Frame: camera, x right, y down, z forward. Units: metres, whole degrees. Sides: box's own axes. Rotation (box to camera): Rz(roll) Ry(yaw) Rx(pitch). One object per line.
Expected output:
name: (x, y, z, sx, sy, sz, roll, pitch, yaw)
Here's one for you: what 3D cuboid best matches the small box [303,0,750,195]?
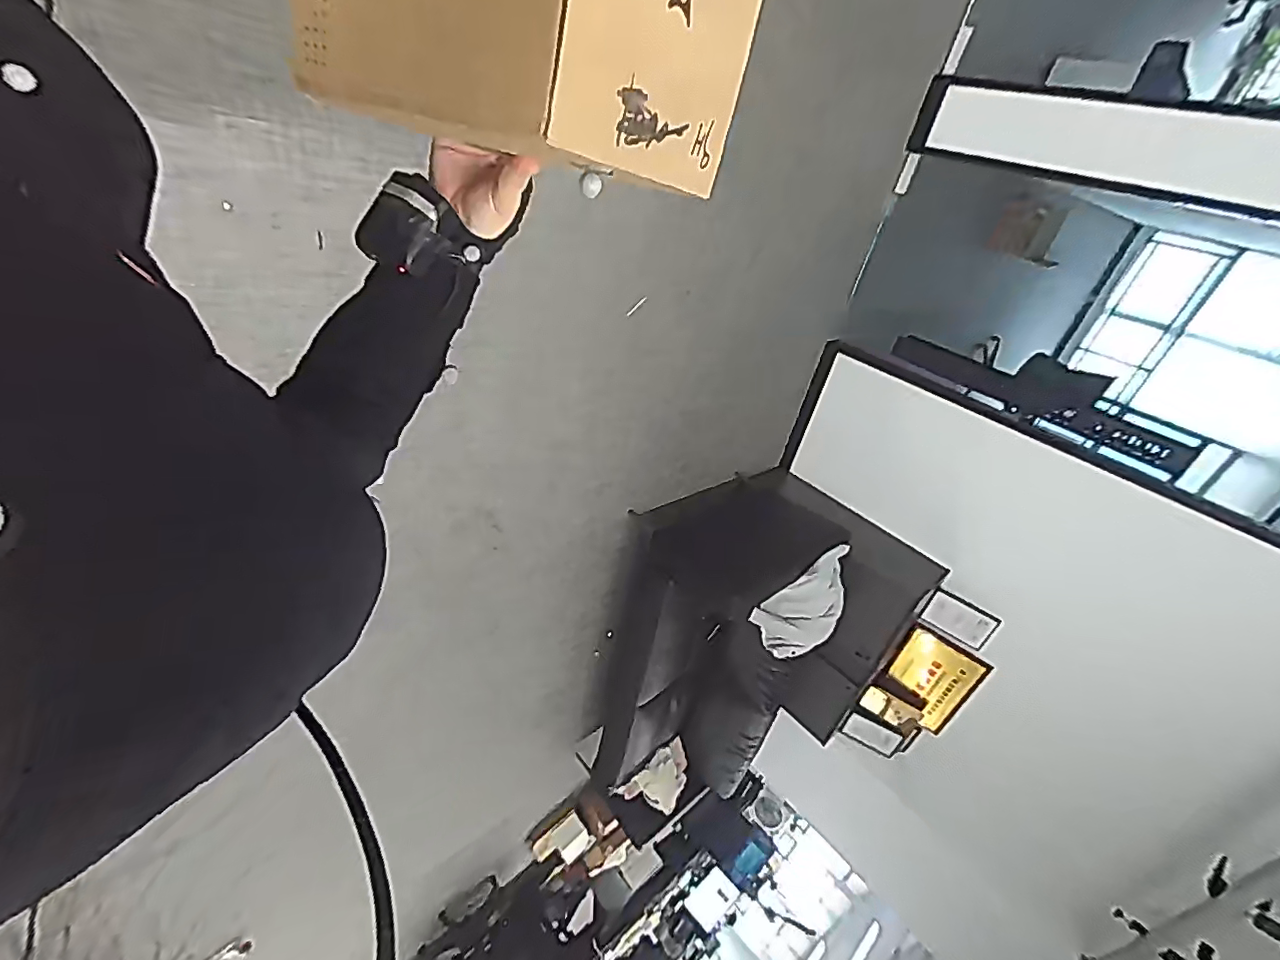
small box: (-0.051, -0.268, 0.282, 0.168, 0.176, 0.179, -31, 139, -54)
